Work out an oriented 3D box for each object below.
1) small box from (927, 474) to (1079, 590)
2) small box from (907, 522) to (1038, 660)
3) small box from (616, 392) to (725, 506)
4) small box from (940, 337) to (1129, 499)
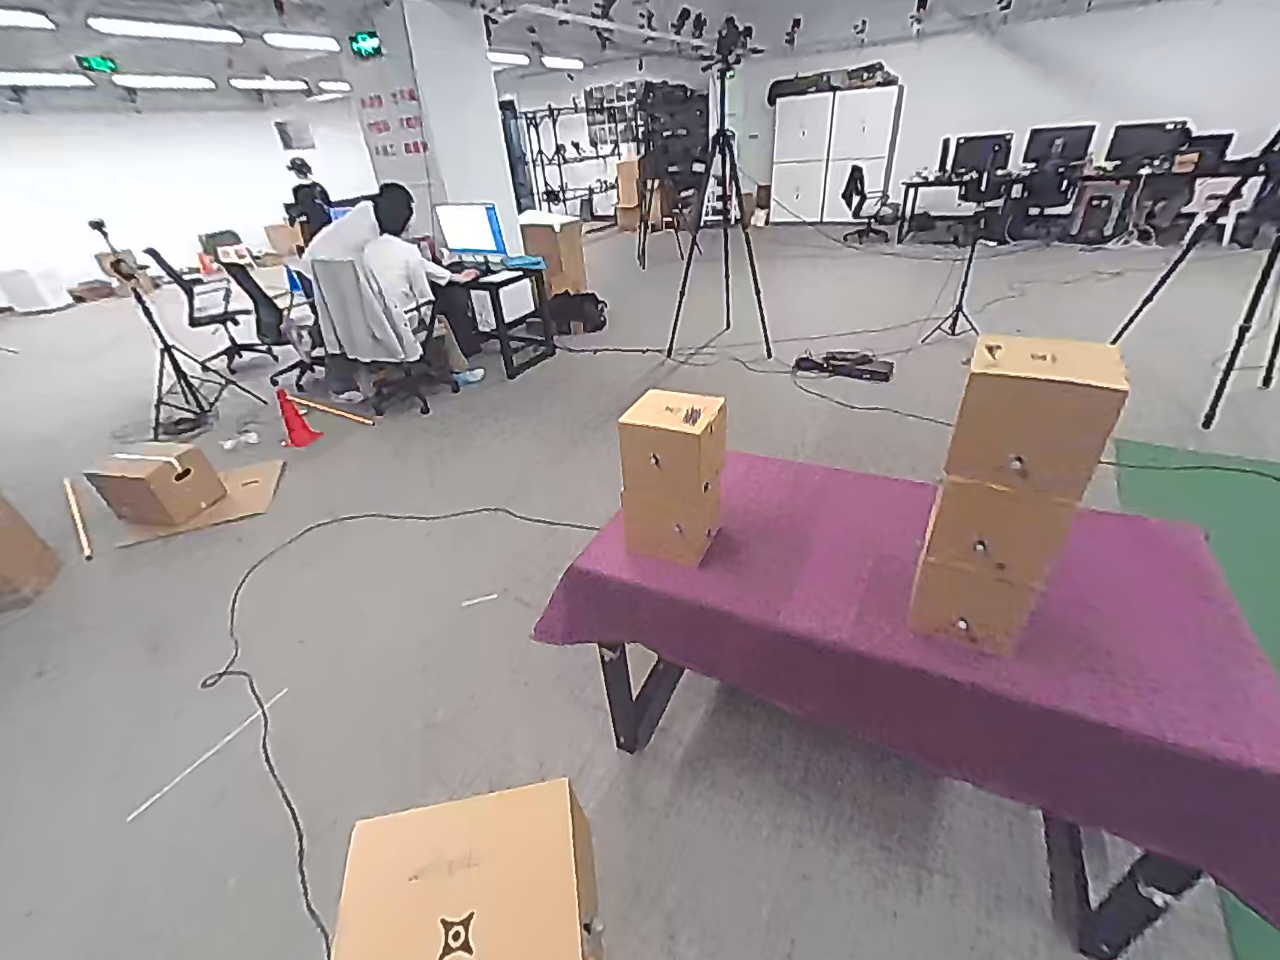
[{"bbox_3d":[0.581,0.045,0.881,0.168,0.176,0.179,14,38,27],"label":"small box"},{"bbox_3d":[0.590,0.182,0.969,0.168,0.176,0.179,13,37,27],"label":"small box"},{"bbox_3d":[0.069,-0.066,1.123,0.179,0.176,0.168,11,35,23],"label":"small box"},{"bbox_3d":[0.566,-0.093,0.792,0.179,0.176,0.168,16,38,28],"label":"small box"}]
